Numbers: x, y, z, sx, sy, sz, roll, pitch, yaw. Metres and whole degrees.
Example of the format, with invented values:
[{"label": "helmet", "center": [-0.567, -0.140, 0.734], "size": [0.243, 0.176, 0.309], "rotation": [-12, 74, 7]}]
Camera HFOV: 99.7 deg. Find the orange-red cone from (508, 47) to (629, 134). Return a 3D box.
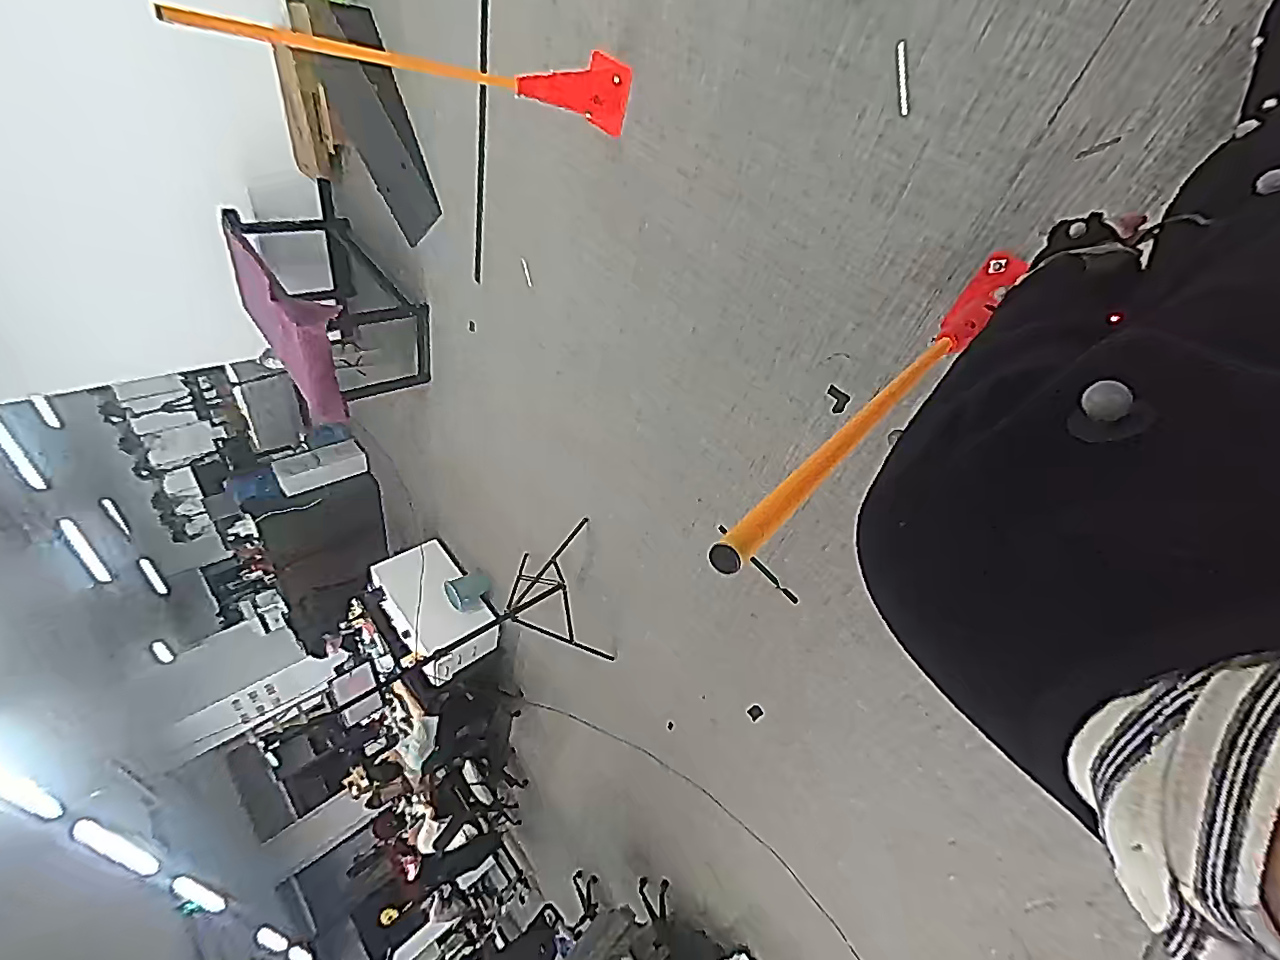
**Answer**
[{"label": "orange-red cone", "center": [-0.243, -1.211, 1.661], "size": [0.199, 0.360, 0.198], "rotation": [47, 139, 22]}]
